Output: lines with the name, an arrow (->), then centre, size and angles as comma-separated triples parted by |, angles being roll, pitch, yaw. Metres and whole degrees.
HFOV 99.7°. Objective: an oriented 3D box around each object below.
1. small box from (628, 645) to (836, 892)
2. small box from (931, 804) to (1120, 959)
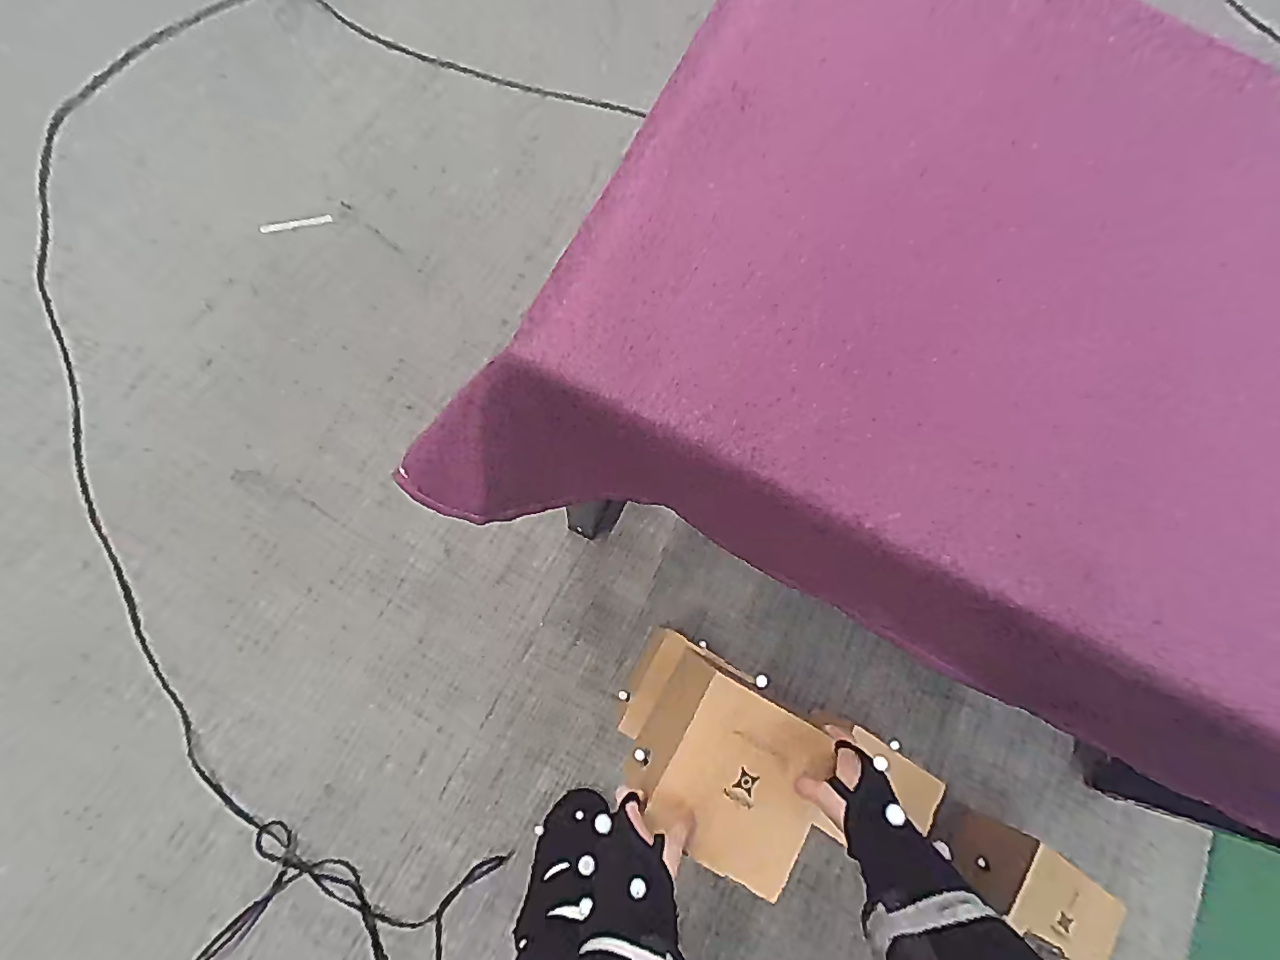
small box -> 0.095, 0.324, 0.649 | 0.168, 0.176, 0.179 | 30, 80, -2
small box -> 0.632, 0.697, 0.910 | 0.168, 0.176, 0.179 | 38, 75, 3
